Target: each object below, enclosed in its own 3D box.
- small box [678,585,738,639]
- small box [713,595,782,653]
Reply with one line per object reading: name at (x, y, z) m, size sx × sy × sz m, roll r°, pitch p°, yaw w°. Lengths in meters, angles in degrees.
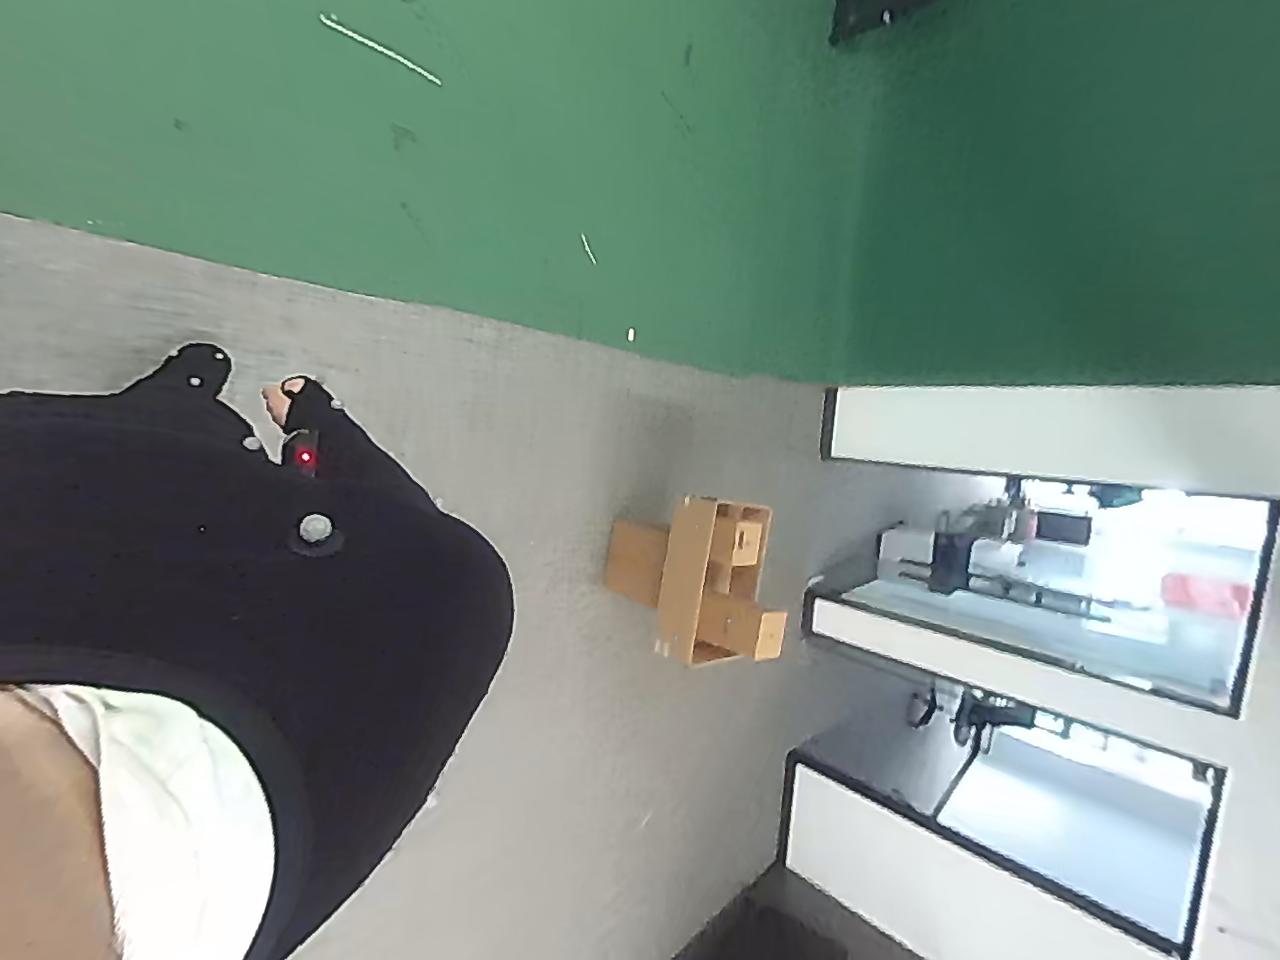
small box at (0.277, 0.508, 2.098) m, size 0.179 × 0.176 × 0.168 m, roll 15°, pitch 86°, yaw -47°
small box at (0.395, 0.524, 1.987) m, size 0.179 × 0.176 × 0.168 m, roll 14°, pitch 87°, yaw -47°
